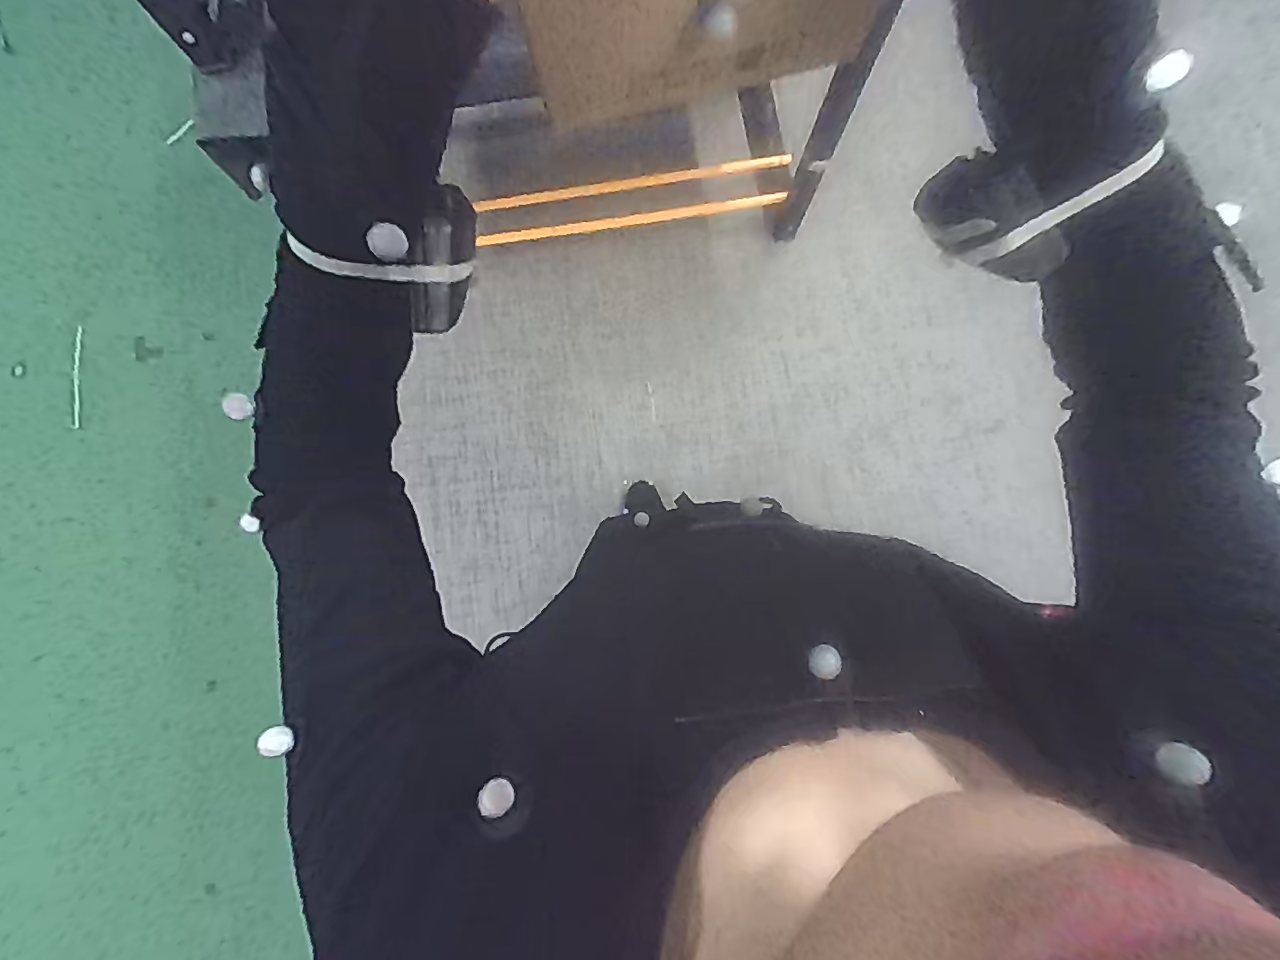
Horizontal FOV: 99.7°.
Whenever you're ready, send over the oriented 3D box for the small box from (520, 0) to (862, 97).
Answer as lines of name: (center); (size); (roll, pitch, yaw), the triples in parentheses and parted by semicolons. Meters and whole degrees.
small box: (0.011, -0.294, 0.196); (0.168, 0.176, 0.179); (-13, 89, 2)
